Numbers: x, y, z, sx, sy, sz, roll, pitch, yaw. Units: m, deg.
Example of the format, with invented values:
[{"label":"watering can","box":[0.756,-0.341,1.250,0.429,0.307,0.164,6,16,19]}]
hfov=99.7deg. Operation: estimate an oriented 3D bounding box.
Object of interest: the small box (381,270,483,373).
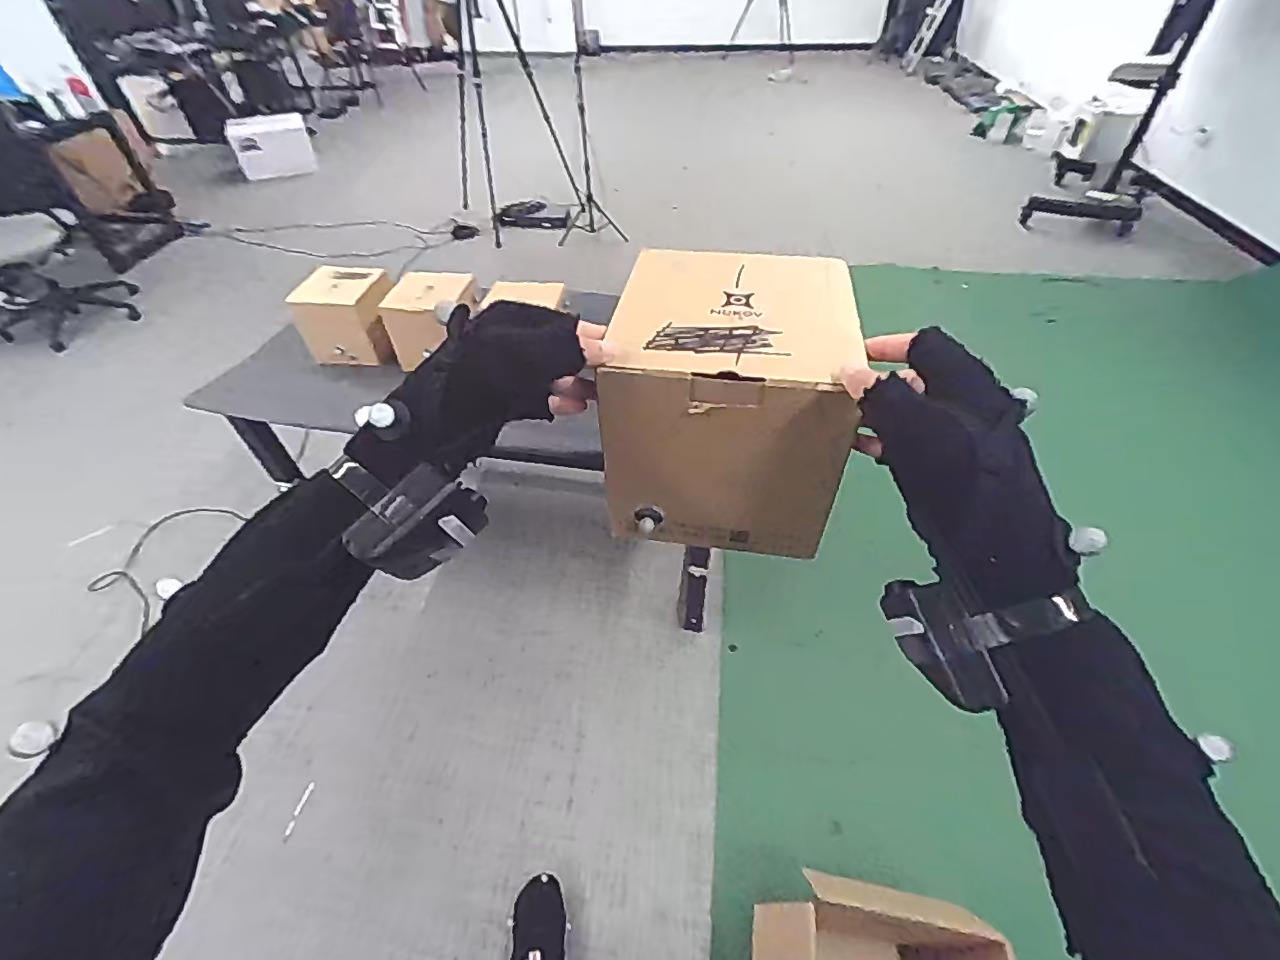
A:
[{"label":"small box","box":[-0.475,-0.377,1.284,0.168,0.176,0.179,4,46,5]}]

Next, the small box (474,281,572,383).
[{"label":"small box","box":[-0.257,-0.339,1.244,0.168,0.176,0.179,4,46,6]}]

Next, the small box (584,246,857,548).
[{"label":"small box","box":[0.063,-0.067,0.432,0.168,0.176,0.179,6,45,8]}]
